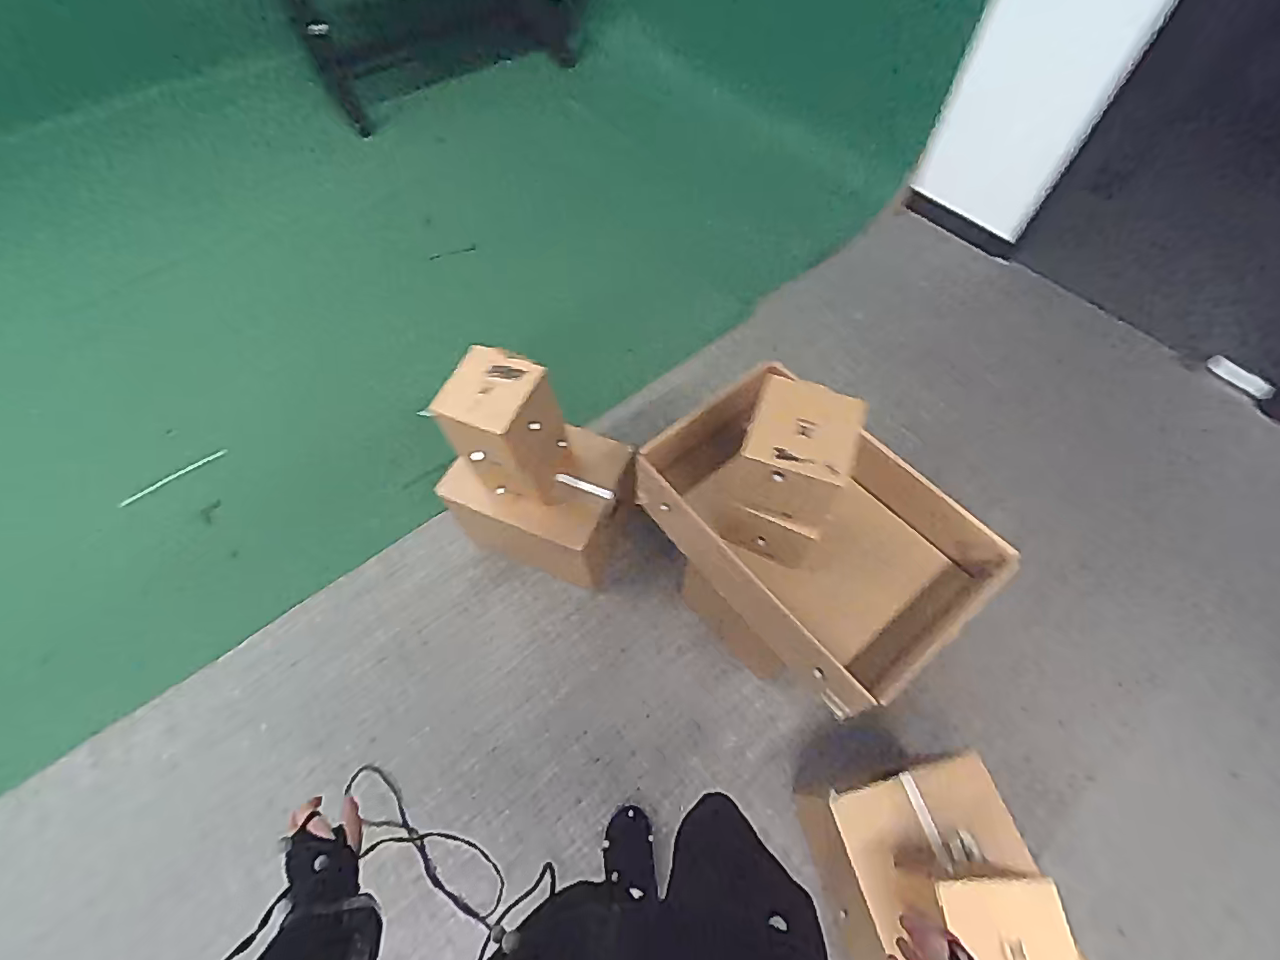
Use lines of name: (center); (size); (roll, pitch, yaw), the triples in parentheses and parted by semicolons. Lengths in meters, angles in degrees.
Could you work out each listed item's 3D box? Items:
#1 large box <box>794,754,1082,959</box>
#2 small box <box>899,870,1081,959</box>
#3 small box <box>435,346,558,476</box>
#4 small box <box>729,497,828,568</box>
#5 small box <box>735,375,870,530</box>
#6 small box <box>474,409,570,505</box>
large box: (0.544, 0.796, 1.042); (0.320, 0.320, 0.408); (-13, 60, -7)
small box: (0.525, 0.701, 0.815); (0.179, 0.176, 0.168); (-3, 61, 2)
small box: (-0.284, -0.140, 1.121); (0.168, 0.176, 0.179); (20, 65, 14)
small box: (0.284, 0.048, 1.066); (0.168, 0.176, 0.179); (25, 64, 14)
small box: (0.271, -0.043, 0.929); (0.168, 0.176, 0.179); (19, 63, 12)
small box: (-0.273, -0.070, 1.270); (0.168, 0.176, 0.179); (16, 63, 11)
